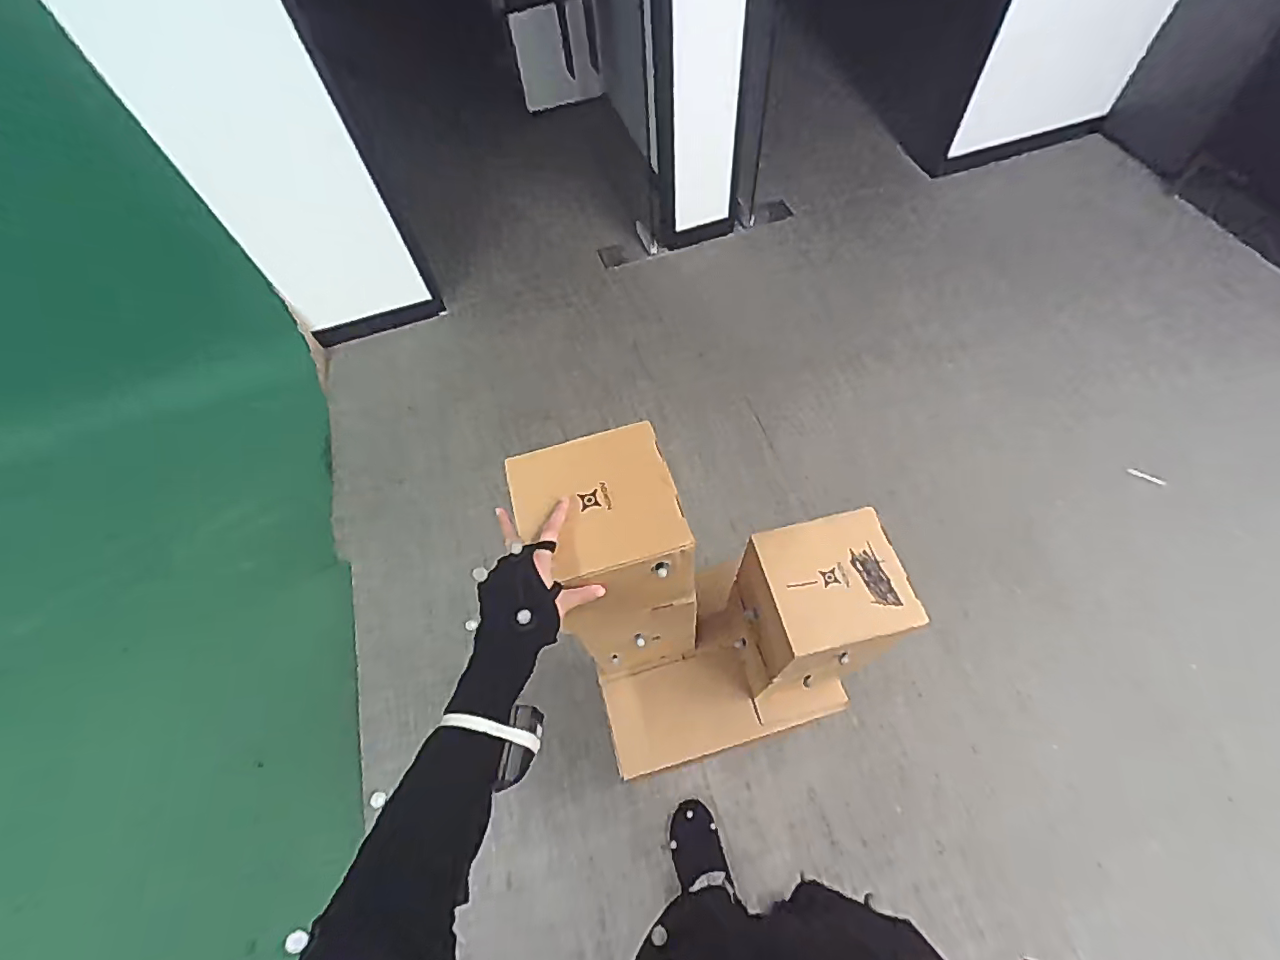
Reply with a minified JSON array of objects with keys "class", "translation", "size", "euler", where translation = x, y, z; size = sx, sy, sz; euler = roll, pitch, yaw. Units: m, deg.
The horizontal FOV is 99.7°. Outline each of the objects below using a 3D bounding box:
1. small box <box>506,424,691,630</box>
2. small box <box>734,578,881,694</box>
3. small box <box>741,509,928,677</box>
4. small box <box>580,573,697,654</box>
[{"class":"small box","translation":[-0.043,0.064,0.654],"size":[0.179,0.176,0.168],"euler":[-17,60,-5]},{"class":"small box","translation":[0.261,0.245,0.898],"size":[0.179,0.176,0.168],"euler":[-14,62,-3]},{"class":"small box","translation":[0.254,0.163,0.757],"size":[0.179,0.176,0.168],"euler":[-13,61,-3]},{"class":"small box","translation":[-0.017,0.138,0.797],"size":[0.168,0.176,0.179],"euler":[-12,60,-1]}]
